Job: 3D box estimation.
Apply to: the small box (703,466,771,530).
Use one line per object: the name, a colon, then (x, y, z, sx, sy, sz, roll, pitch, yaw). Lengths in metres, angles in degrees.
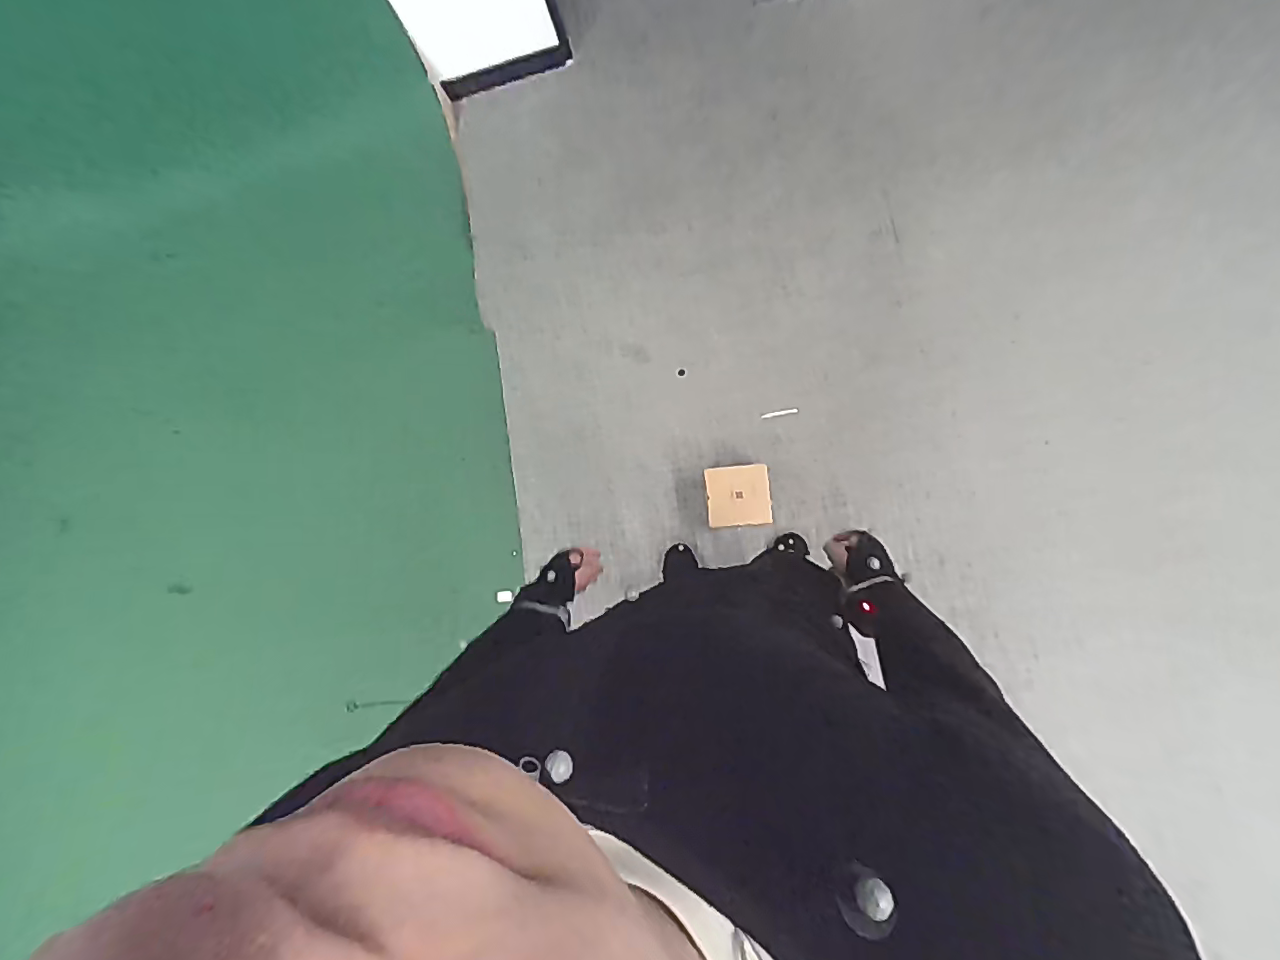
small box: (0.282, 0.058, 1.570, 0.179, 0.176, 0.168, -5, 82, 9)
